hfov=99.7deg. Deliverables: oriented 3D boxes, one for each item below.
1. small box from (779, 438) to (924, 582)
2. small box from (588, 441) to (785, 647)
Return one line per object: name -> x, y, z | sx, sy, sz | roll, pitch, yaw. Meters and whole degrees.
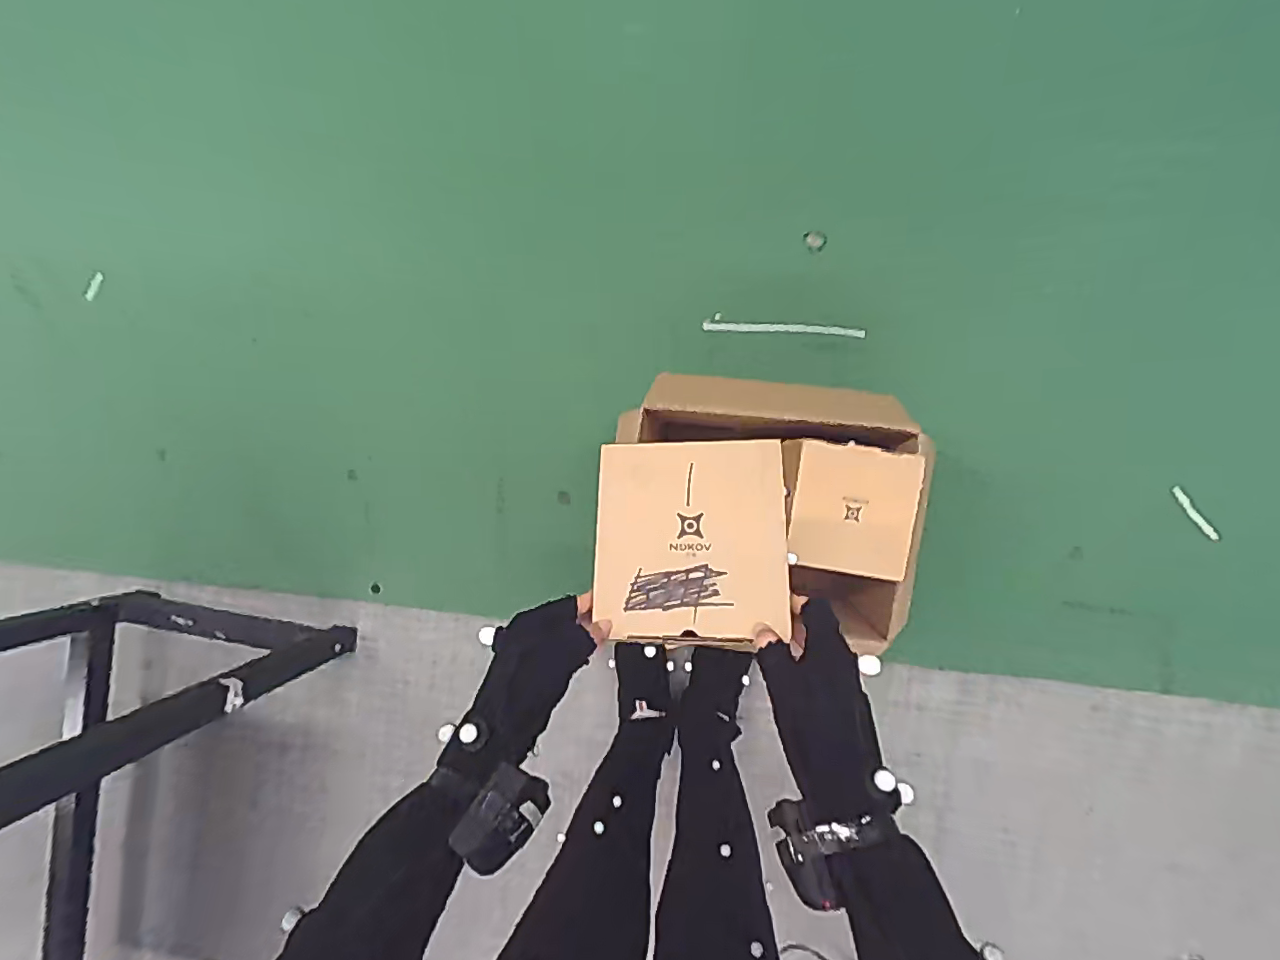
small box -> 0.295, 0.038, 0.813 | 0.168, 0.176, 0.179 | 9, 92, 6
small box -> 0.052, 0.073, 0.540 | 0.168, 0.176, 0.179 | -1, 71, 8
